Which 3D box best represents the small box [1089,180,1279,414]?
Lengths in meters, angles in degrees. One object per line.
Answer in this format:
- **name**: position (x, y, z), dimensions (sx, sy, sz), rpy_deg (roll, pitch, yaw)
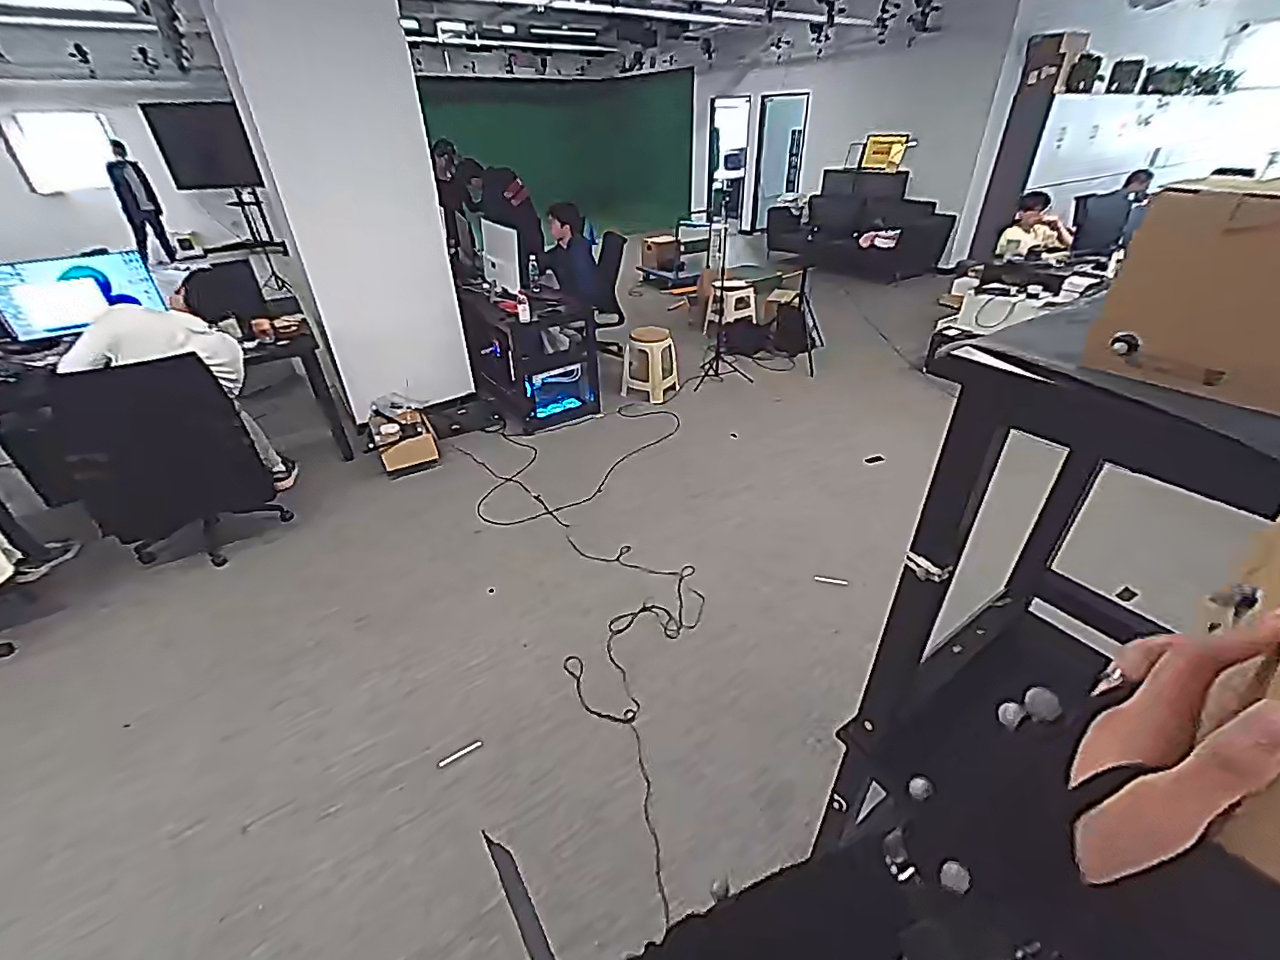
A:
- **small box**: position (0.573, -0.178, 0.510), dimensions (0.179, 0.176, 0.168), rpy_deg (-22, 39, -29)
